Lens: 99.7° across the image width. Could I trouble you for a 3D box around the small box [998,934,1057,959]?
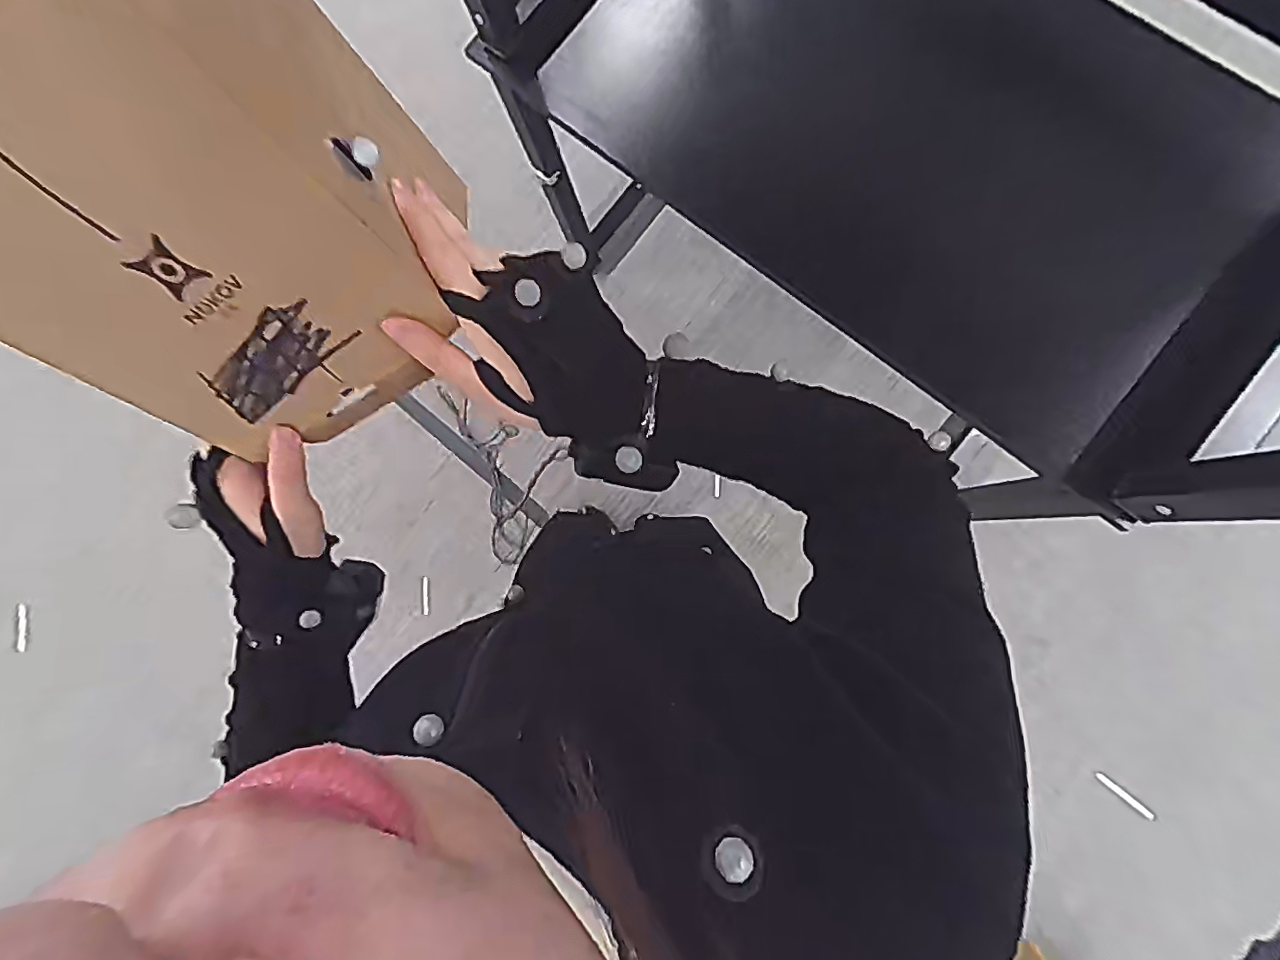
[{"bbox_3d":[0.929,1.210,1.229,0.168,0.176,0.179,39,91,8],"label":"small box"}]
